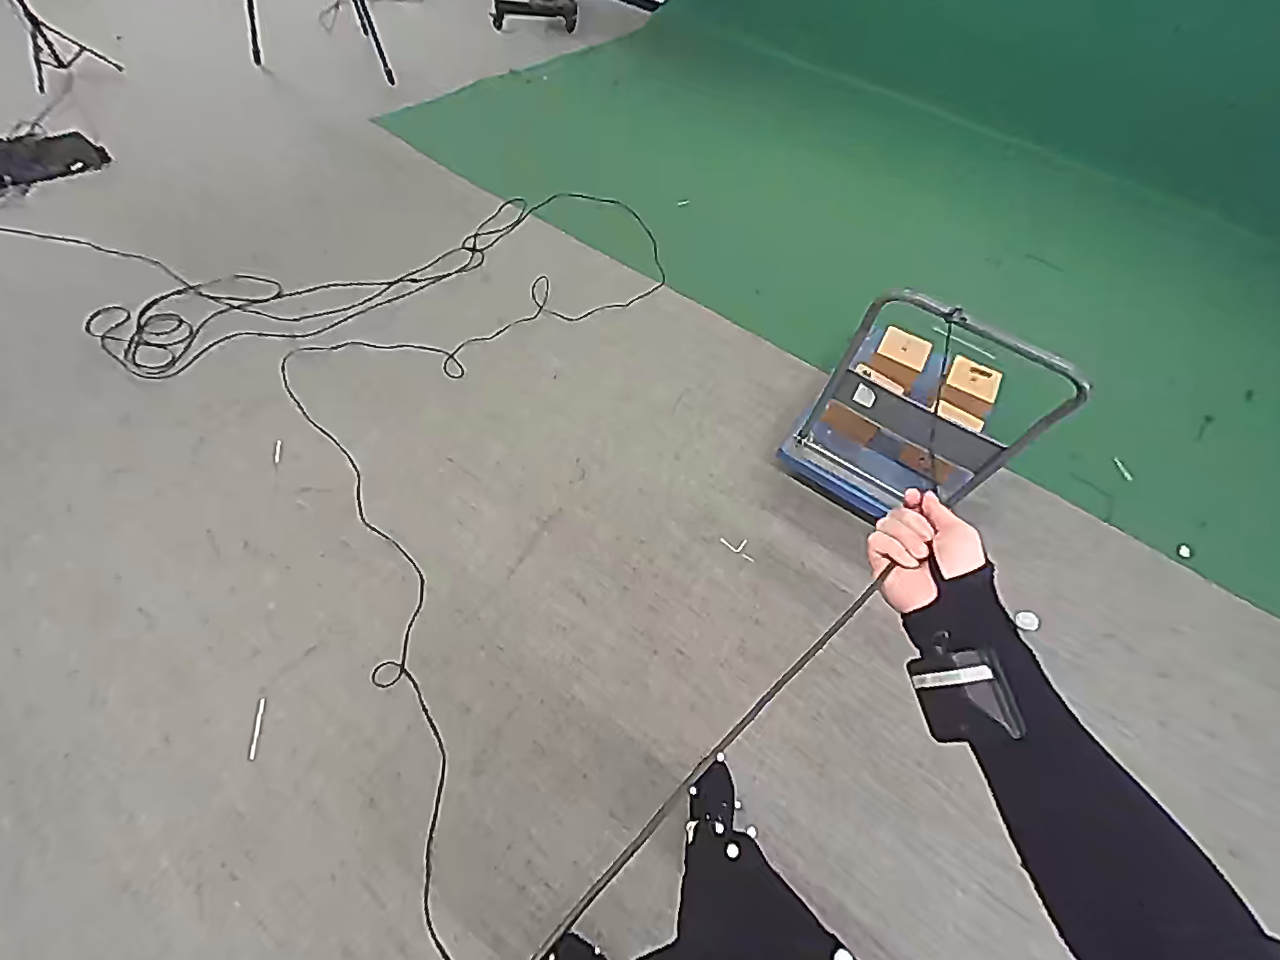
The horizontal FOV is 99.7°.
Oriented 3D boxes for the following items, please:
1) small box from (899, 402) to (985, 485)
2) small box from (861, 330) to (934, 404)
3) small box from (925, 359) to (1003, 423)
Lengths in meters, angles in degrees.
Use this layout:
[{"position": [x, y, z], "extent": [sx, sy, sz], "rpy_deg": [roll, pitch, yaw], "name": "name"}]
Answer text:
[{"position": [1.001, -0.120, 1.805], "extent": [0.168, 0.176, 0.179], "rpy_deg": [34, 59, 15], "name": "small box"}, {"position": [0.943, -0.414, 1.997], "extent": [0.168, 0.176, 0.179], "rpy_deg": [30, 58, 12], "name": "small box"}, {"position": [1.157, -0.293, 1.941], "extent": [0.168, 0.176, 0.179], "rpy_deg": [30, 59, 13], "name": "small box"}]
